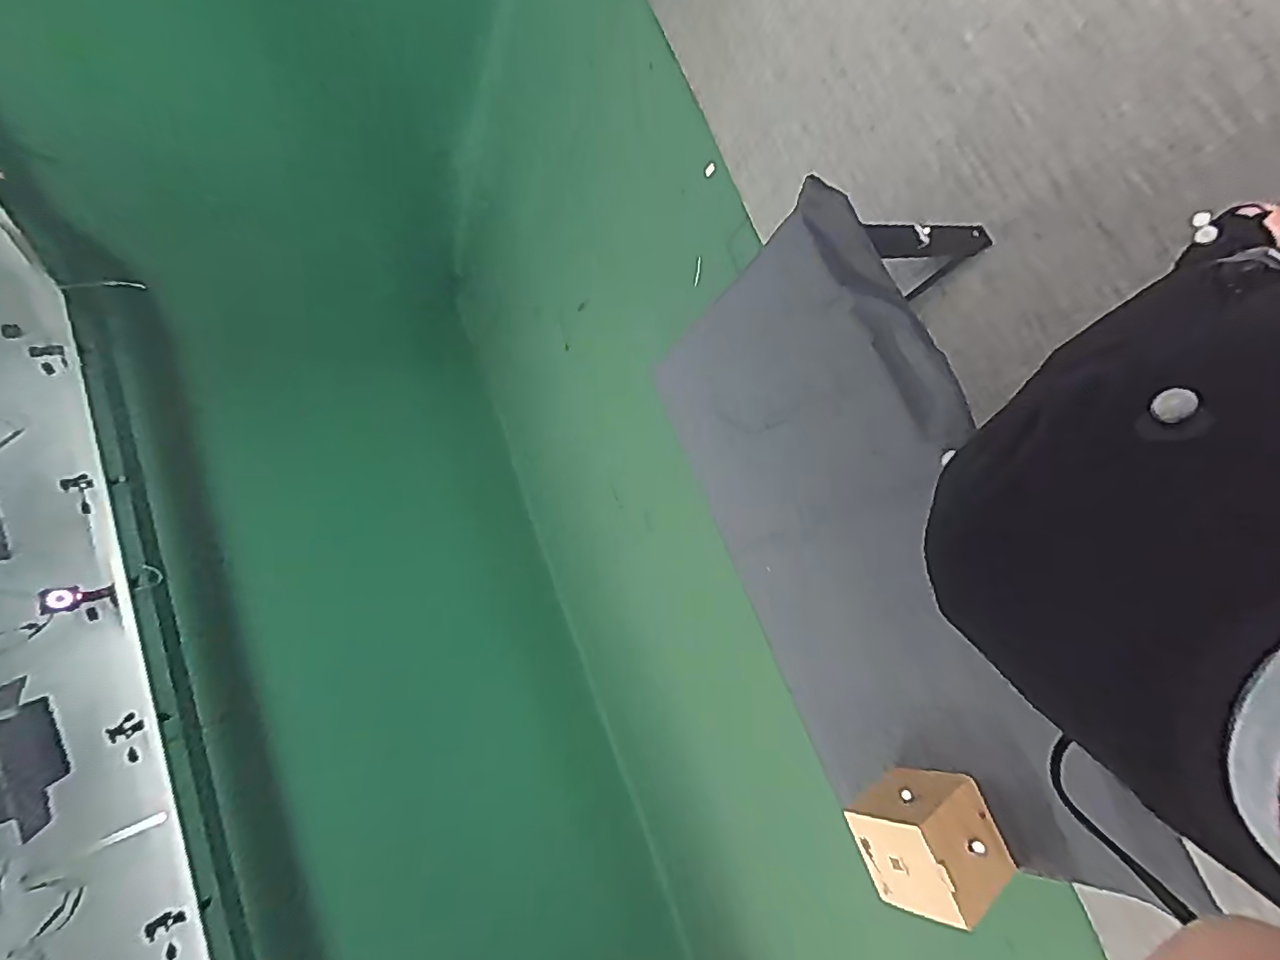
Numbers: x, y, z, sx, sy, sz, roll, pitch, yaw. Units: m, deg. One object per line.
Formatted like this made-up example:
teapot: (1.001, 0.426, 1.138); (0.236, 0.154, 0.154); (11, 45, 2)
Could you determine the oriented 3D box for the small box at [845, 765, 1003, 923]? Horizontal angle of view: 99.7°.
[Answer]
small box: (0.522, 0.645, 0.986); (0.179, 0.176, 0.168); (-39, 69, 55)
